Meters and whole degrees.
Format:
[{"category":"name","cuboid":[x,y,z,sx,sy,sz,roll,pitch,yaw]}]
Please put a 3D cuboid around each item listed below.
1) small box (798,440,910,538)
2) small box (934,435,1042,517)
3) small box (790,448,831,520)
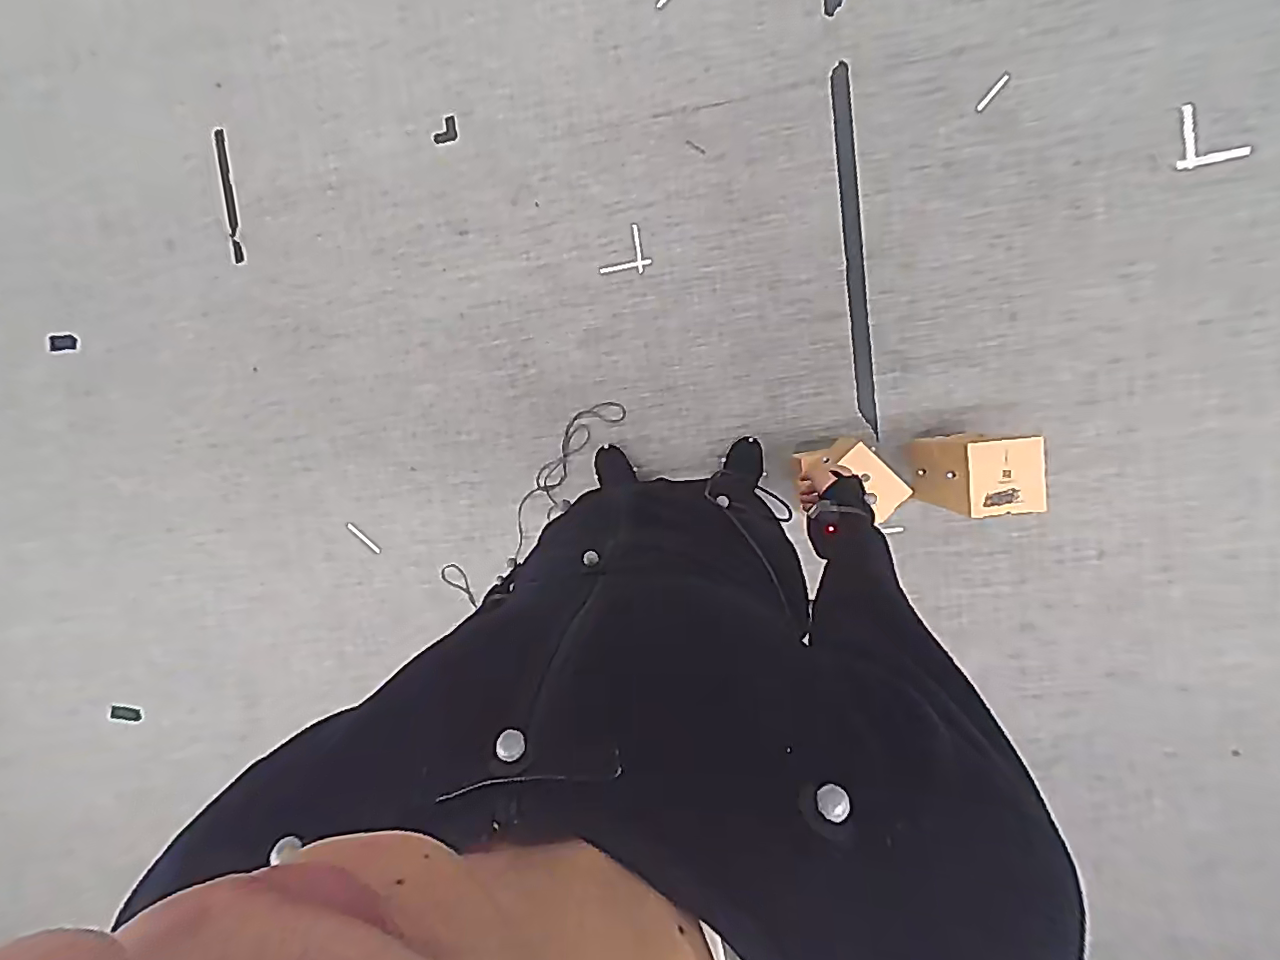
[{"category":"small box","cuboid":[0.519,0.016,1.346,0.179,0.176,0.168,44,99,-1]},{"category":"small box","cuboid":[0.834,-0.014,1.309,0.168,0.176,0.179,-5,95,6]},{"category":"small box","cuboid":[0.523,0.004,1.510,0.168,0.176,0.179,-9,95,7]}]
